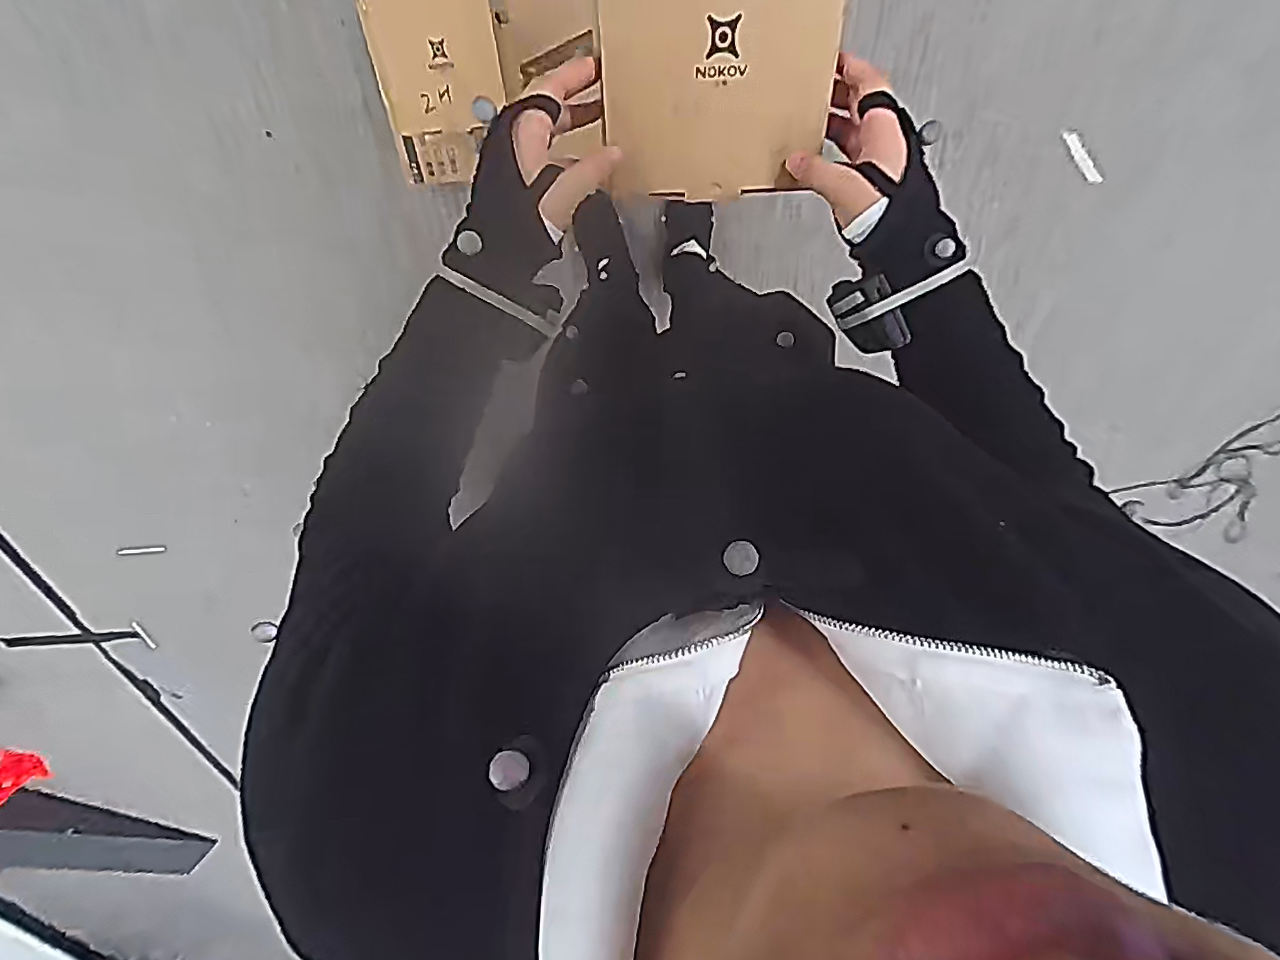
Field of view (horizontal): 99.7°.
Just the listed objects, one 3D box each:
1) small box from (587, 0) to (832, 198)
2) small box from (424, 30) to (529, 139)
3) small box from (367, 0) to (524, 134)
[{"bbox_3d":[0.042,-0.345,0.438,0.168,0.176,0.179,-4,129,-3],"label":"small box"},{"bbox_3d":[-0.305,-0.718,0.963,0.168,0.176,0.179,-6,124,2],"label":"small box"},{"bbox_3d":[-0.282,-0.636,0.821,0.168,0.176,0.179,-4,123,1],"label":"small box"}]
